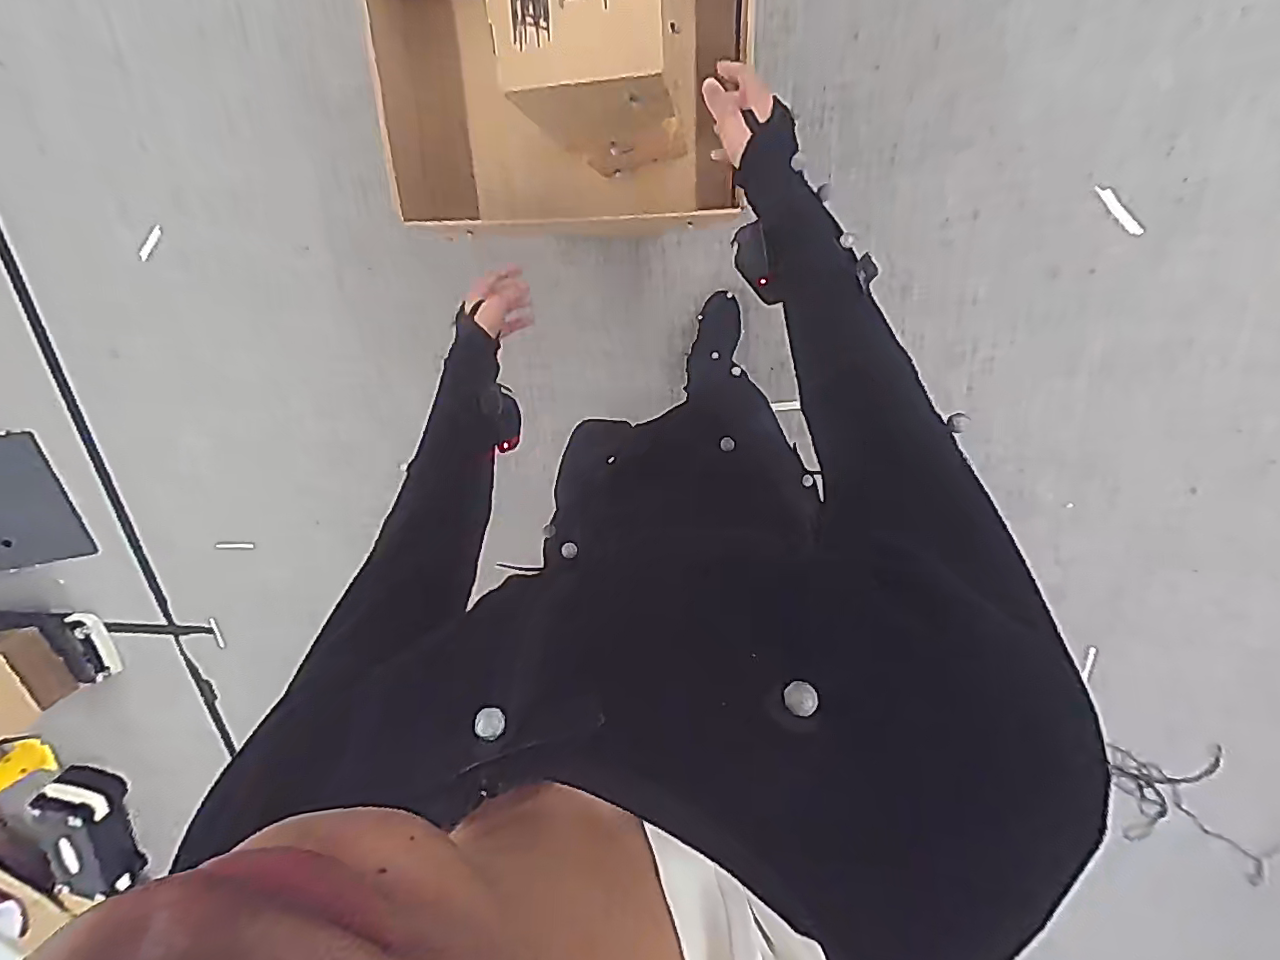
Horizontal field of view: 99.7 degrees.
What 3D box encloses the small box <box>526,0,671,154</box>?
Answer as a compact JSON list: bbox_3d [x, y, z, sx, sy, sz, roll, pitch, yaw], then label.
[{"bbox_3d":[-0.047,-0.572,0.747,0.168,0.176,0.179,0,112,9],"label":"small box"}]
